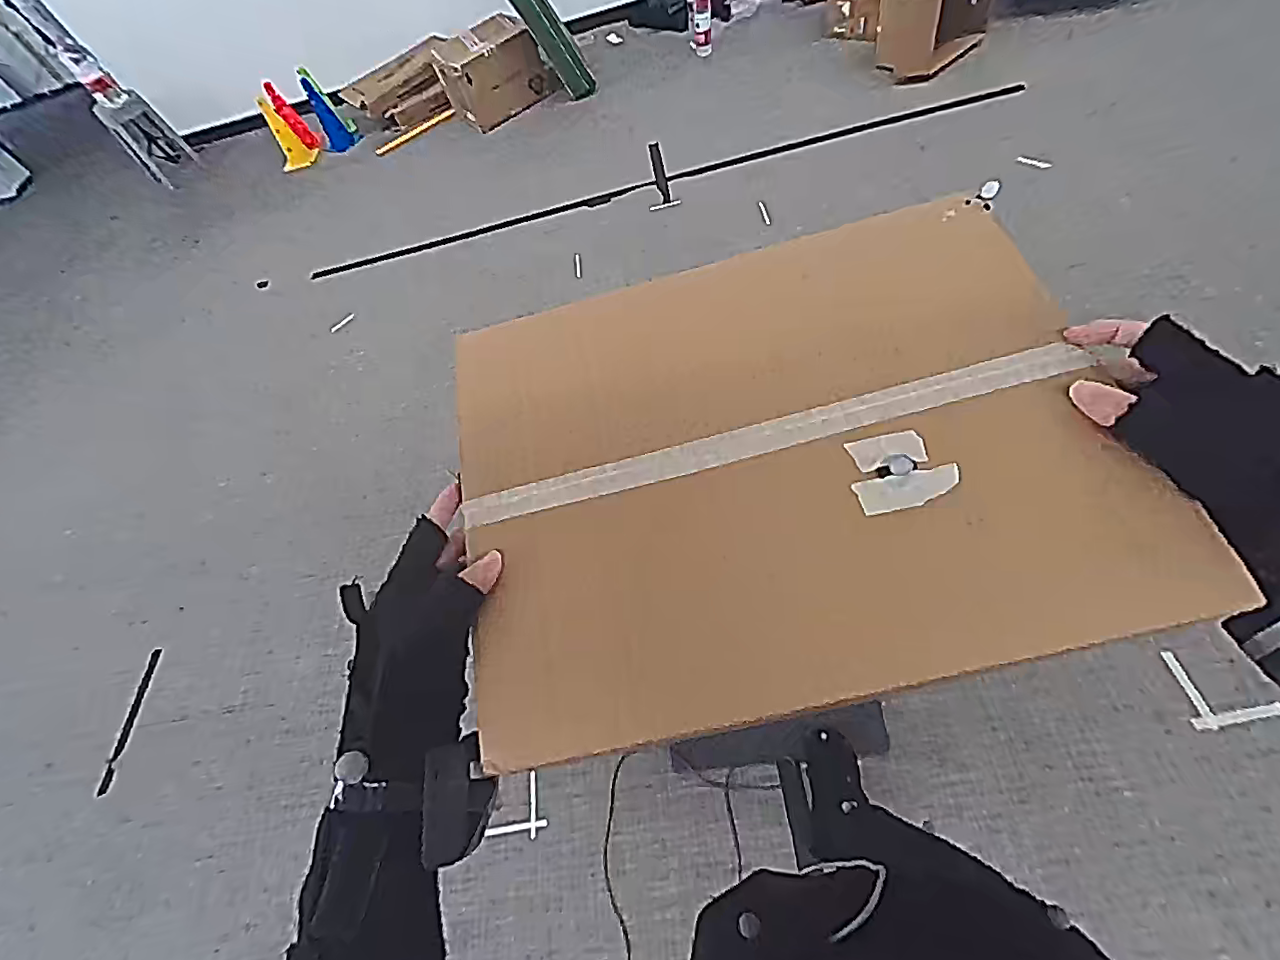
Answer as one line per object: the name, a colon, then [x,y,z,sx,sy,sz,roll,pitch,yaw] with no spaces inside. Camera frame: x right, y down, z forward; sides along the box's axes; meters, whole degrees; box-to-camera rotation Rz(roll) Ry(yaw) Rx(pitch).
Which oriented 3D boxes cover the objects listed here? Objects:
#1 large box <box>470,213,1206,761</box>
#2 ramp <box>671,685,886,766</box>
large box: [0.106,0.038,0.496,0.408,0.320,0.320,-15,65,3]
ramp: [0.266,0.172,1.417,0.509,0.206,0.991,-10,58,6]
